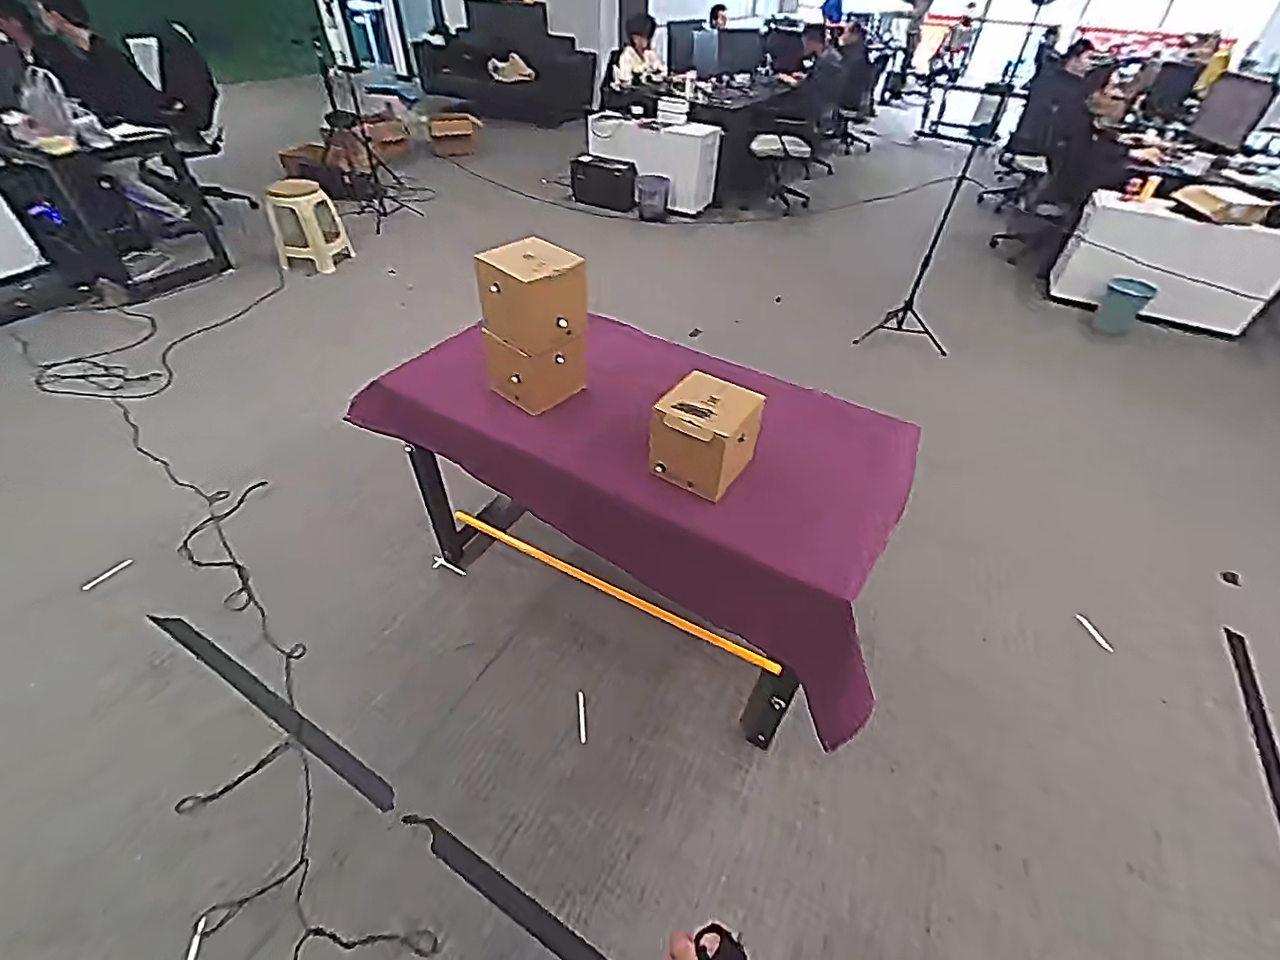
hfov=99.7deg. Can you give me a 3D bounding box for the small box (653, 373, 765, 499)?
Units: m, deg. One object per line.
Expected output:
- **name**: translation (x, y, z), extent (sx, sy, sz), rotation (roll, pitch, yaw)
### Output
- **small box**: translation (0.137, -0.089, 1.119), extent (0.168, 0.176, 0.179), rotation (26, 47, 22)

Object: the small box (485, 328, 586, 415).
- **small box**: translation (-0.243, -0.284, 1.302), extent (0.168, 0.176, 0.179), rotation (34, 51, 27)

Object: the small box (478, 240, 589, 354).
- **small box**: translation (-0.229, -0.401, 1.188), extent (0.179, 0.176, 0.168), rotation (35, 52, 27)
